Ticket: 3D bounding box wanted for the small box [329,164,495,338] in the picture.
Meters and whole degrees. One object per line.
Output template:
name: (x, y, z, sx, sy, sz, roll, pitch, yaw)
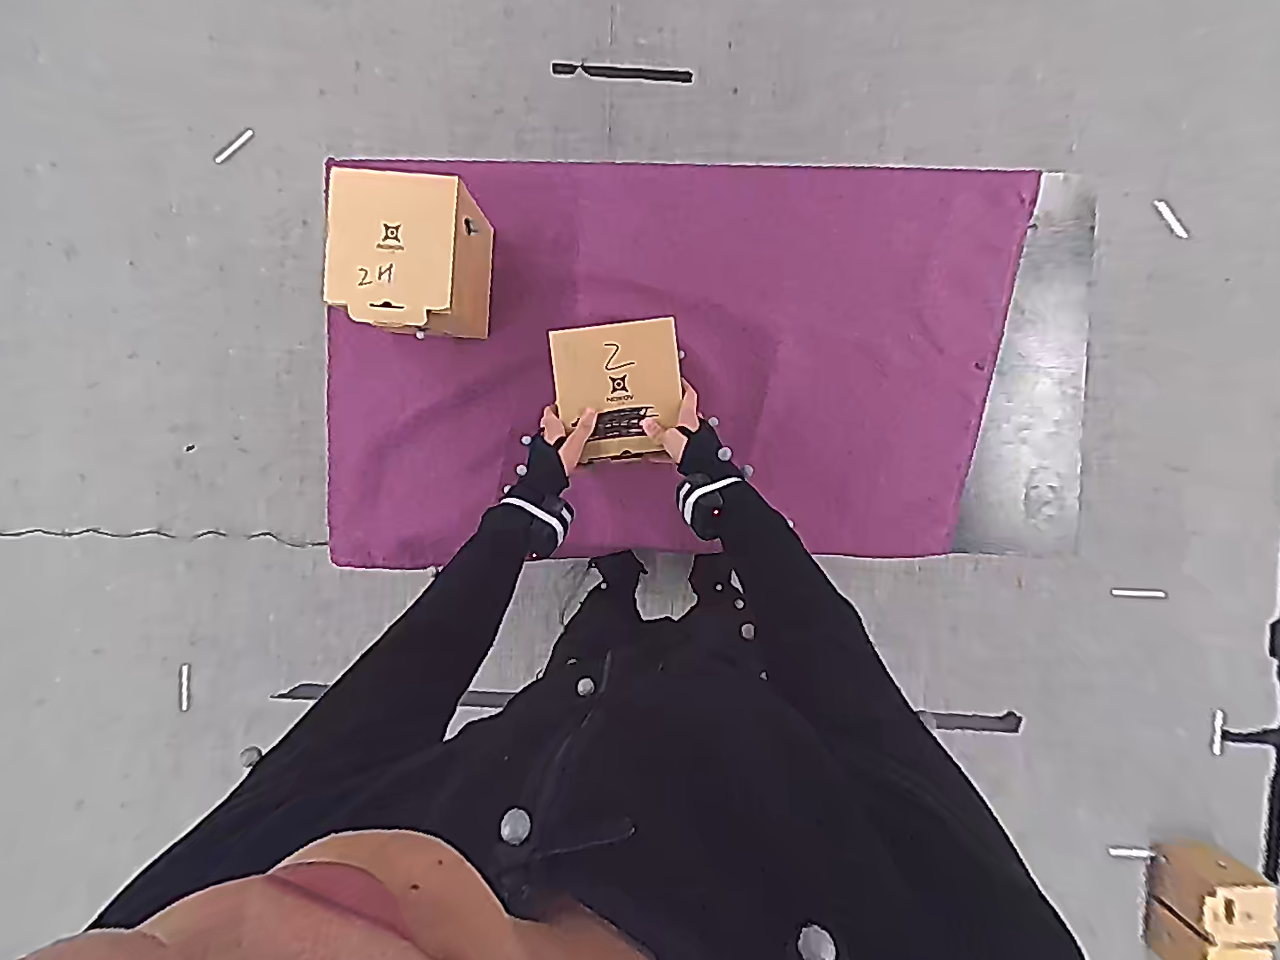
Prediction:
small box: (-0.313, -0.314, 0.772, 0.168, 0.176, 0.179, 5, 94, 0)
